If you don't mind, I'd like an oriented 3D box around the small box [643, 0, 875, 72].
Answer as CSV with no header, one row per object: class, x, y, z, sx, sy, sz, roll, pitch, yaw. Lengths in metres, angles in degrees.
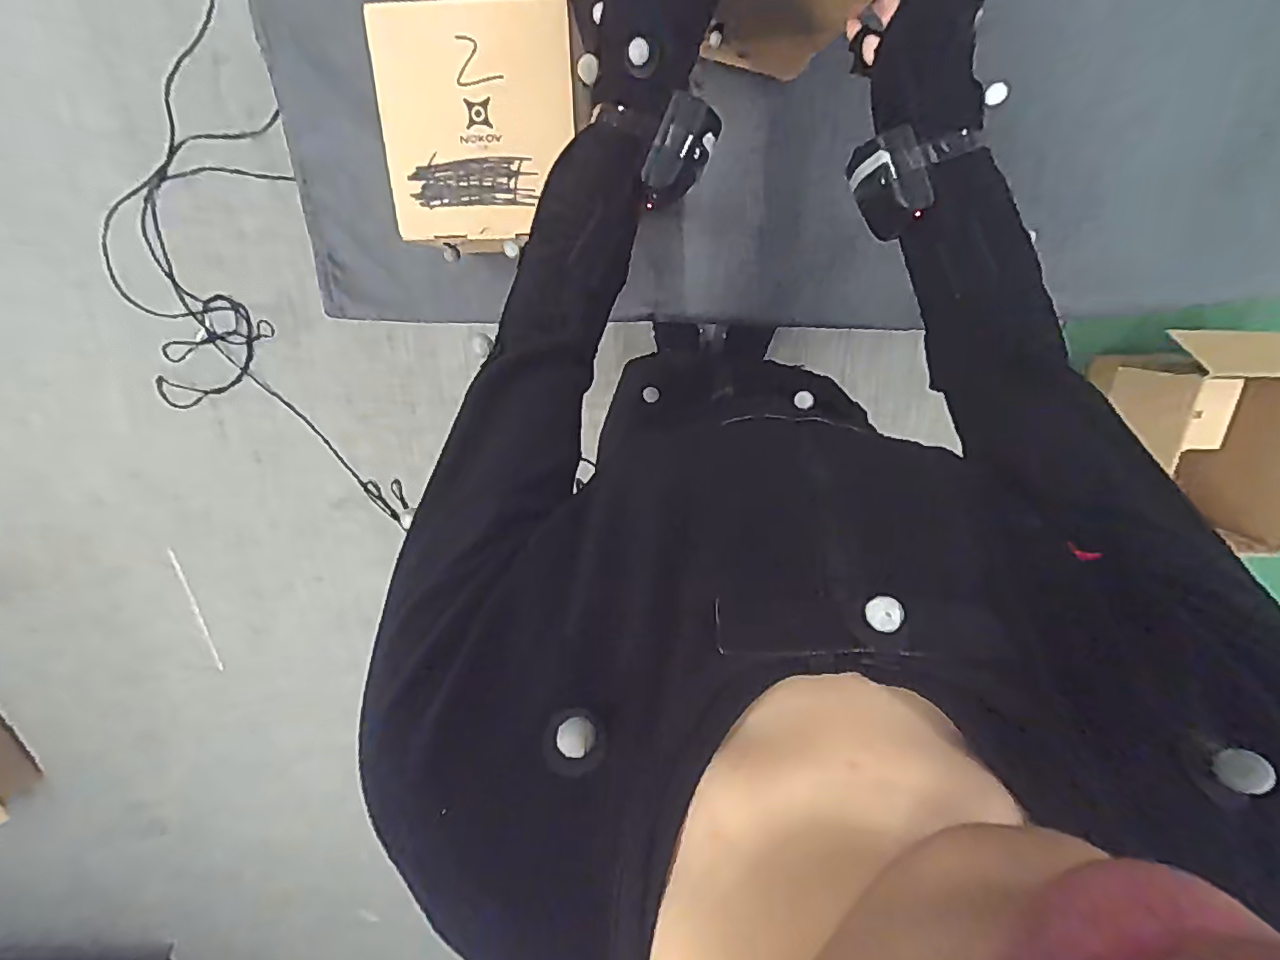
small box,0.104,-0.480,0.441,0.168,0.176,0.179,6,109,-11
